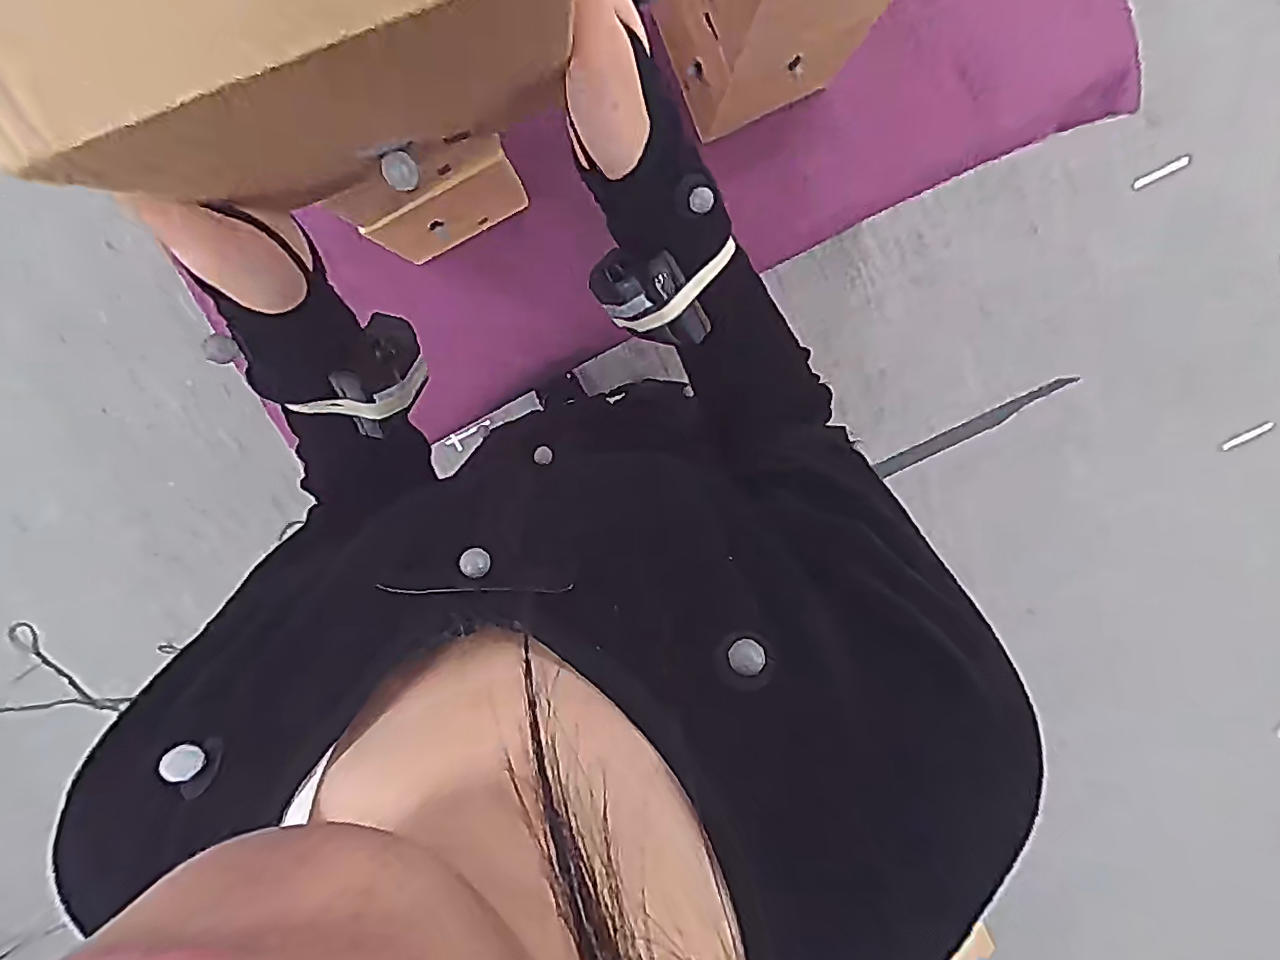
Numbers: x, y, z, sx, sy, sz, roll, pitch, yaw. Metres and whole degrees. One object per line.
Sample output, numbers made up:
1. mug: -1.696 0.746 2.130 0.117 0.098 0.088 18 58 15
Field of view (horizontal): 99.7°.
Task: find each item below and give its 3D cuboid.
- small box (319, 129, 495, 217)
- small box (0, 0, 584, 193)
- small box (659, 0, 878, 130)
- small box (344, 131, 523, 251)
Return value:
1. small box: -0.244 -0.351 0.435 0.168 0.176 0.179 -29 100 4
2. small box: -0.126 -0.213 0.172 0.168 0.176 0.179 -19 116 1
3. small box: 0.127 -0.524 0.586 0.179 0.176 0.168 -25 102 2
4. small box: -0.248 -0.376 0.598 0.168 0.176 0.179 -27 100 3
